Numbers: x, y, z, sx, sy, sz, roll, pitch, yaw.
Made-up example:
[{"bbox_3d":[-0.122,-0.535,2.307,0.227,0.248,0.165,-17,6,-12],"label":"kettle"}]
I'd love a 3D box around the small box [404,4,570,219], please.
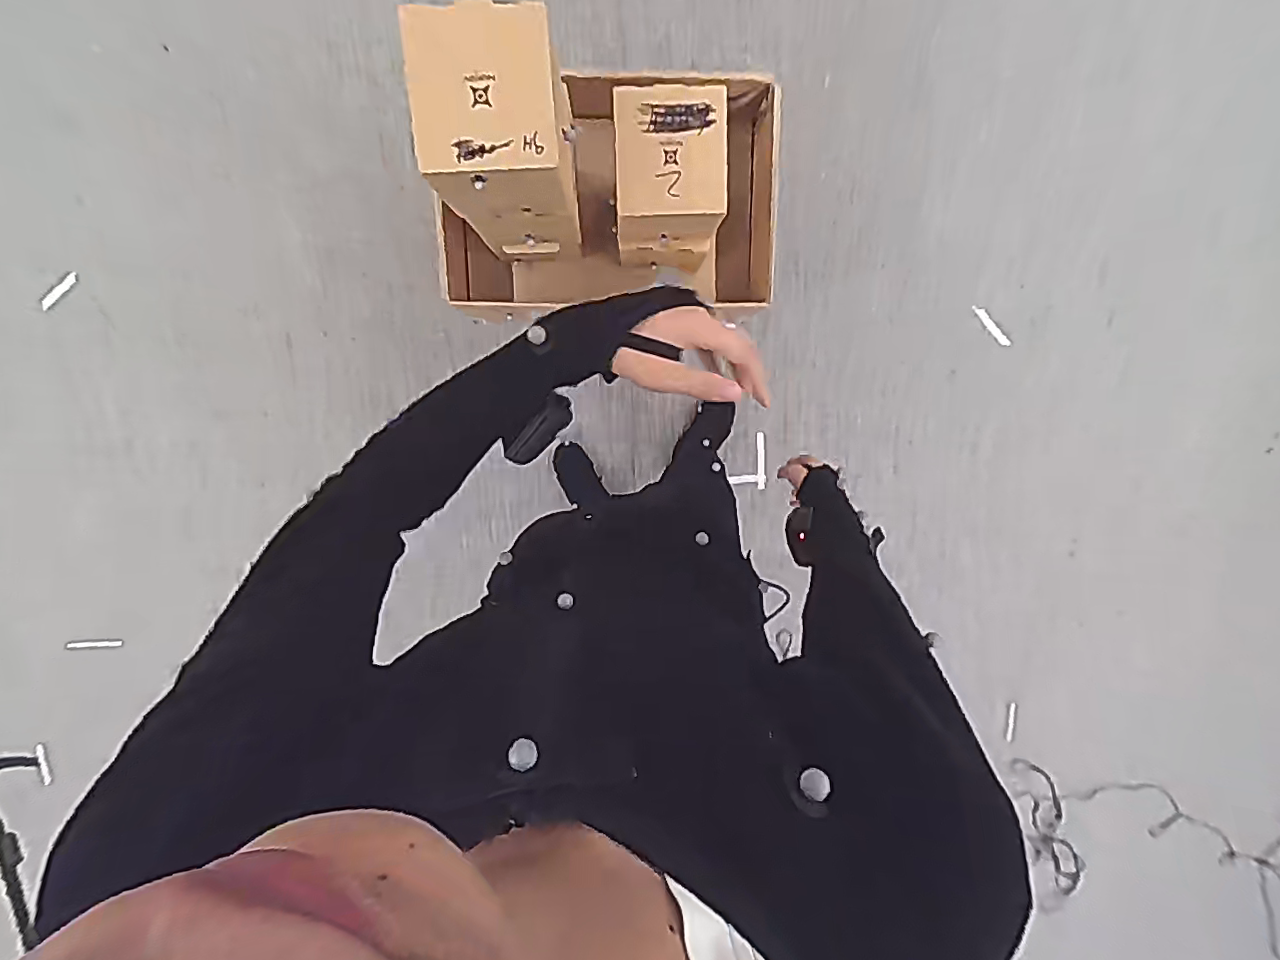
[{"bbox_3d":[-0.182,-0.457,0.695,0.168,0.176,0.179,-3,99,-2],"label":"small box"}]

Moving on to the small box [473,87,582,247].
[{"bbox_3d":[-0.183,-0.484,0.858,0.168,0.176,0.179,-3,100,-2],"label":"small box"}]

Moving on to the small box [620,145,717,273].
[{"bbox_3d":[0.047,-0.507,1.032,0.168,0.176,0.179,2,100,-2],"label":"small box"}]
